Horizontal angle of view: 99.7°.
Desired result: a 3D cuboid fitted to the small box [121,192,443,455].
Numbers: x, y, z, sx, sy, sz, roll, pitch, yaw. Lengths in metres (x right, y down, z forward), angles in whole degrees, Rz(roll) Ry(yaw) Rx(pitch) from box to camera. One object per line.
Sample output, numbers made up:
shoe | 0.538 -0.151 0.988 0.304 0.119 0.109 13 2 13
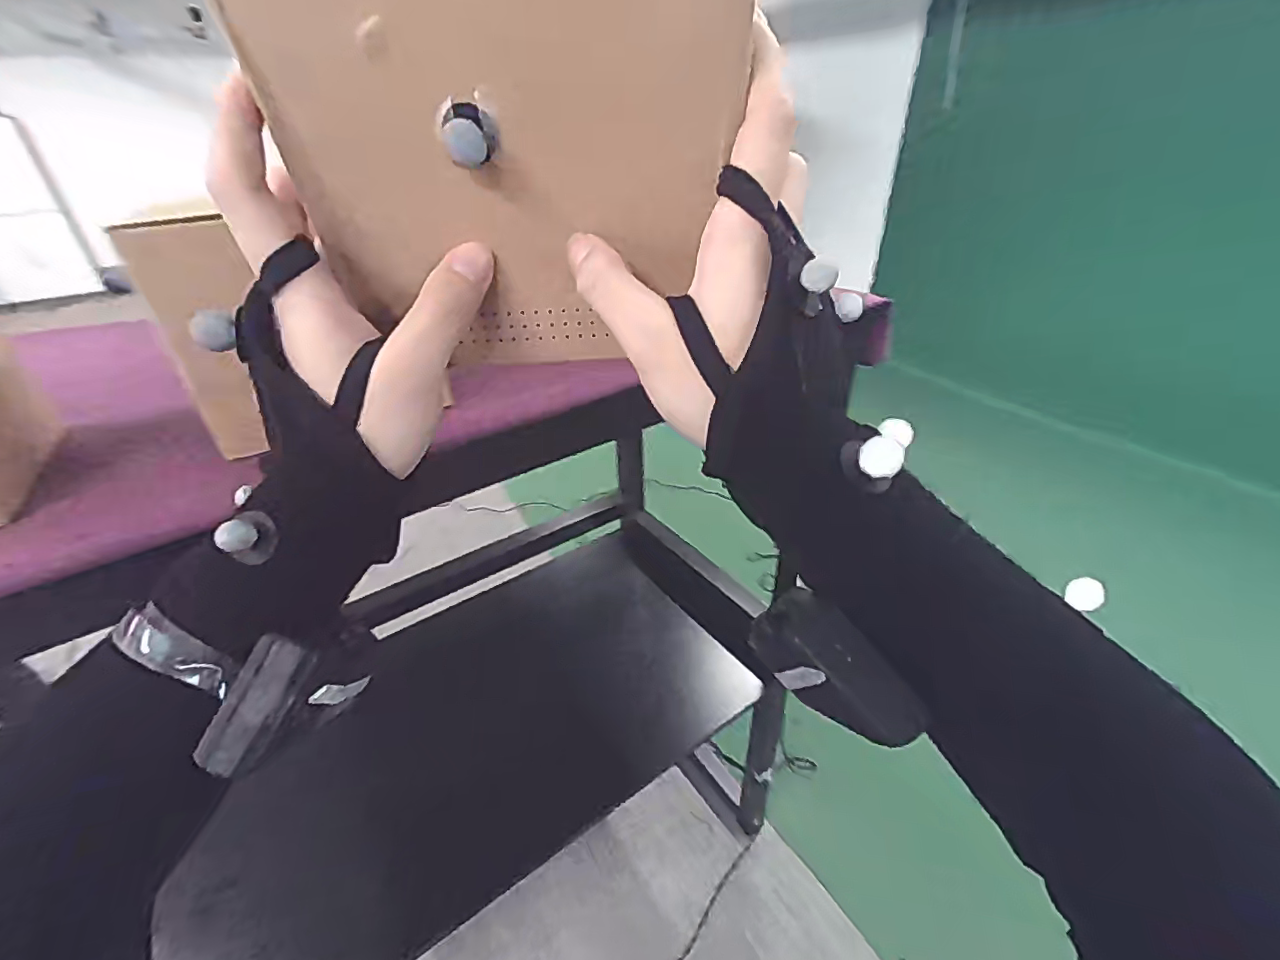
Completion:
small box | -0.286 -0.146 0.474 0.179 0.176 0.168 -21 37 -23

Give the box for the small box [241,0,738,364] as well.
small box | -0.047 -0.172 0.275 0.179 0.176 0.168 -3 46 2
